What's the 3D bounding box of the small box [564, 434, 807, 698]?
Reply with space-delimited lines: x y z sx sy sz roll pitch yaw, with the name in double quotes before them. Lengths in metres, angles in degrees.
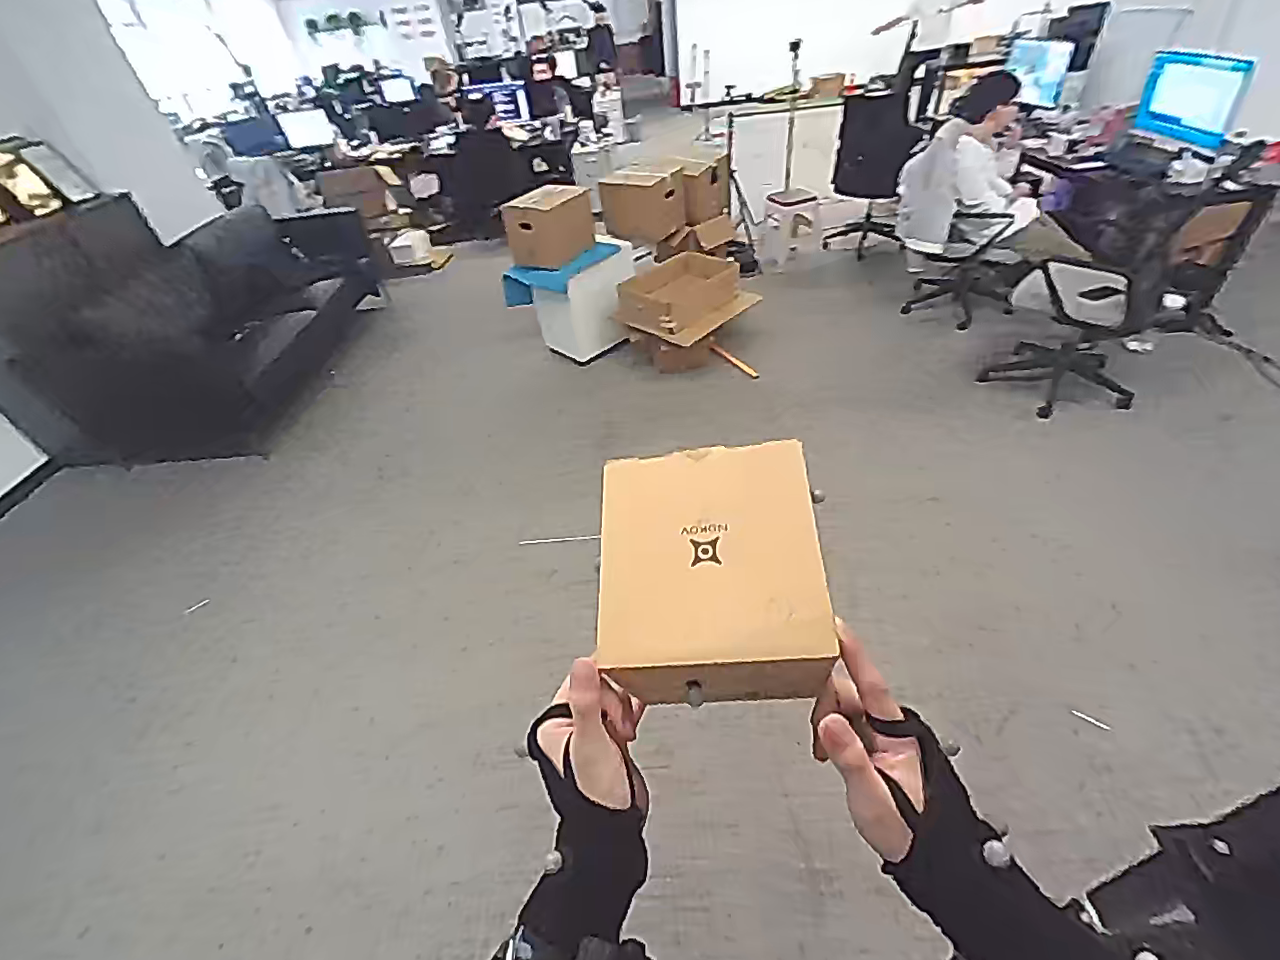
"small box" 0.045 0.085 0.460 0.168 0.176 0.179 -5 59 10
